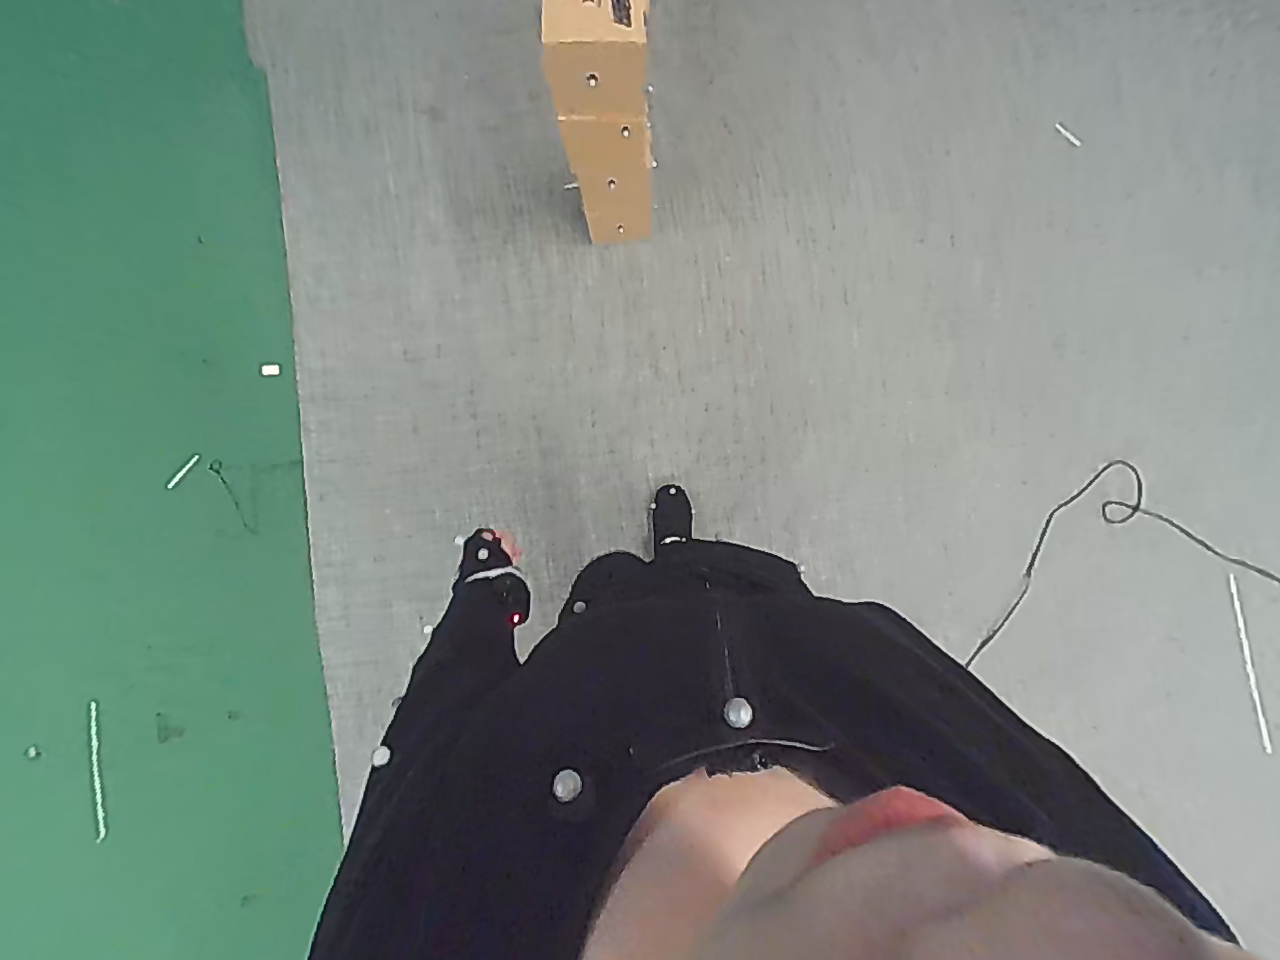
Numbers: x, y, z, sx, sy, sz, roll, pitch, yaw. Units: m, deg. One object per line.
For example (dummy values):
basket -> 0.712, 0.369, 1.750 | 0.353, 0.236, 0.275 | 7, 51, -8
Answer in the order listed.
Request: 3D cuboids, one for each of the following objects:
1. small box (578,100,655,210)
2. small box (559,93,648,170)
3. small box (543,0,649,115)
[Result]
small box -> -0.057, -0.781, 1.315 | 0.179, 0.176, 0.168 | -4, 87, 1
small box -> -0.073, -0.789, 1.153 | 0.179, 0.176, 0.168 | -1, 87, 1
small box -> -0.073, -0.803, 0.989 | 0.179, 0.176, 0.168 | 1, 86, 2
